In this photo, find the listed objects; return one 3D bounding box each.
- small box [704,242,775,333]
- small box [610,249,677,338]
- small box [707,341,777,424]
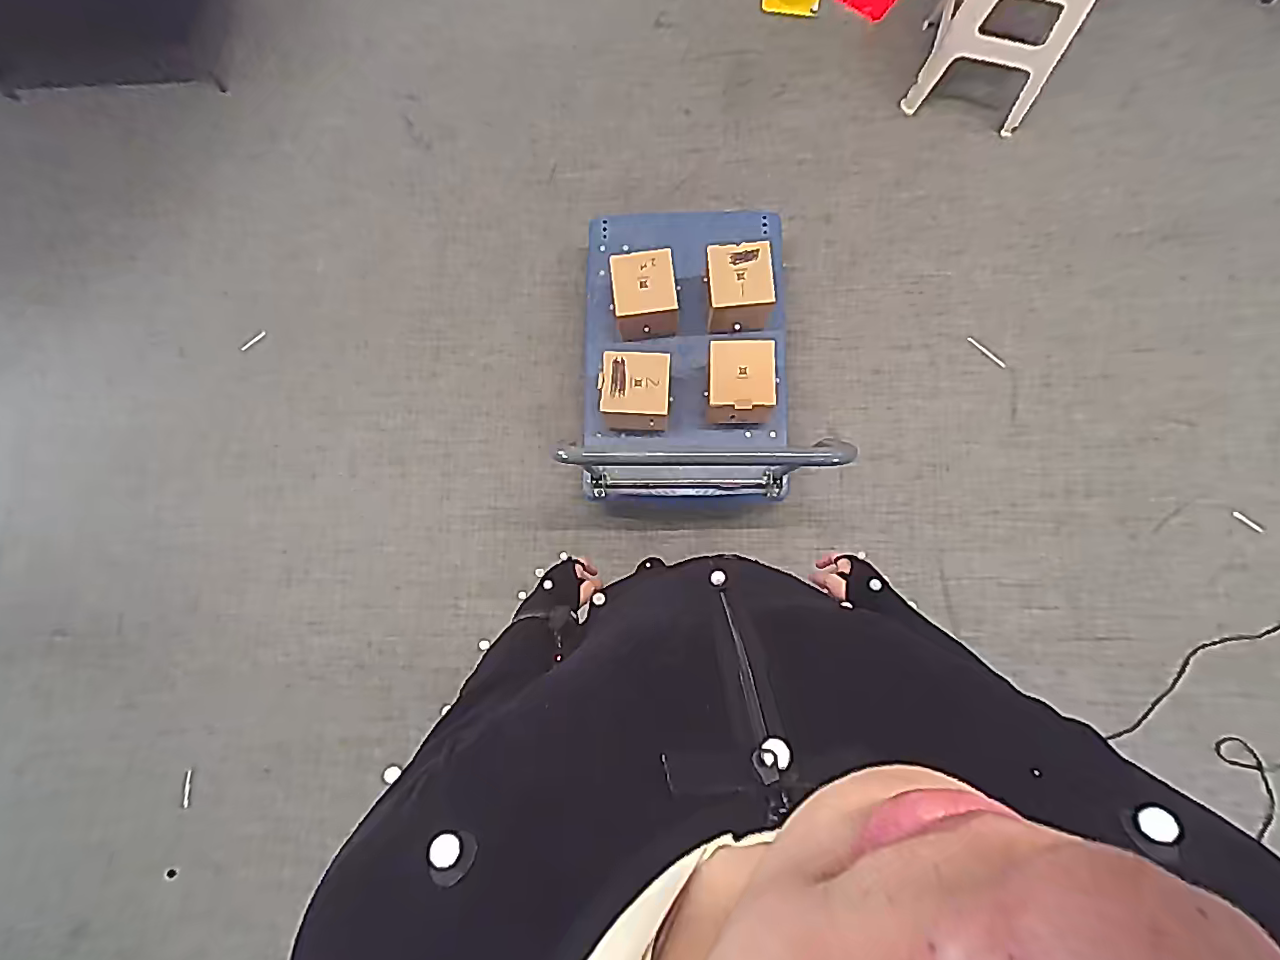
[{"bbox_3d":[0.268,-0.524,1.487,0.168,0.176,0.179,-4,82,3],"label":"small box"},{"bbox_3d":[0.013,-0.505,1.497,0.168,0.176,0.179,-7,81,1],"label":"small box"},{"bbox_3d":[0.267,-0.258,1.447,0.168,0.176,0.179,0,81,3],"label":"small box"}]
